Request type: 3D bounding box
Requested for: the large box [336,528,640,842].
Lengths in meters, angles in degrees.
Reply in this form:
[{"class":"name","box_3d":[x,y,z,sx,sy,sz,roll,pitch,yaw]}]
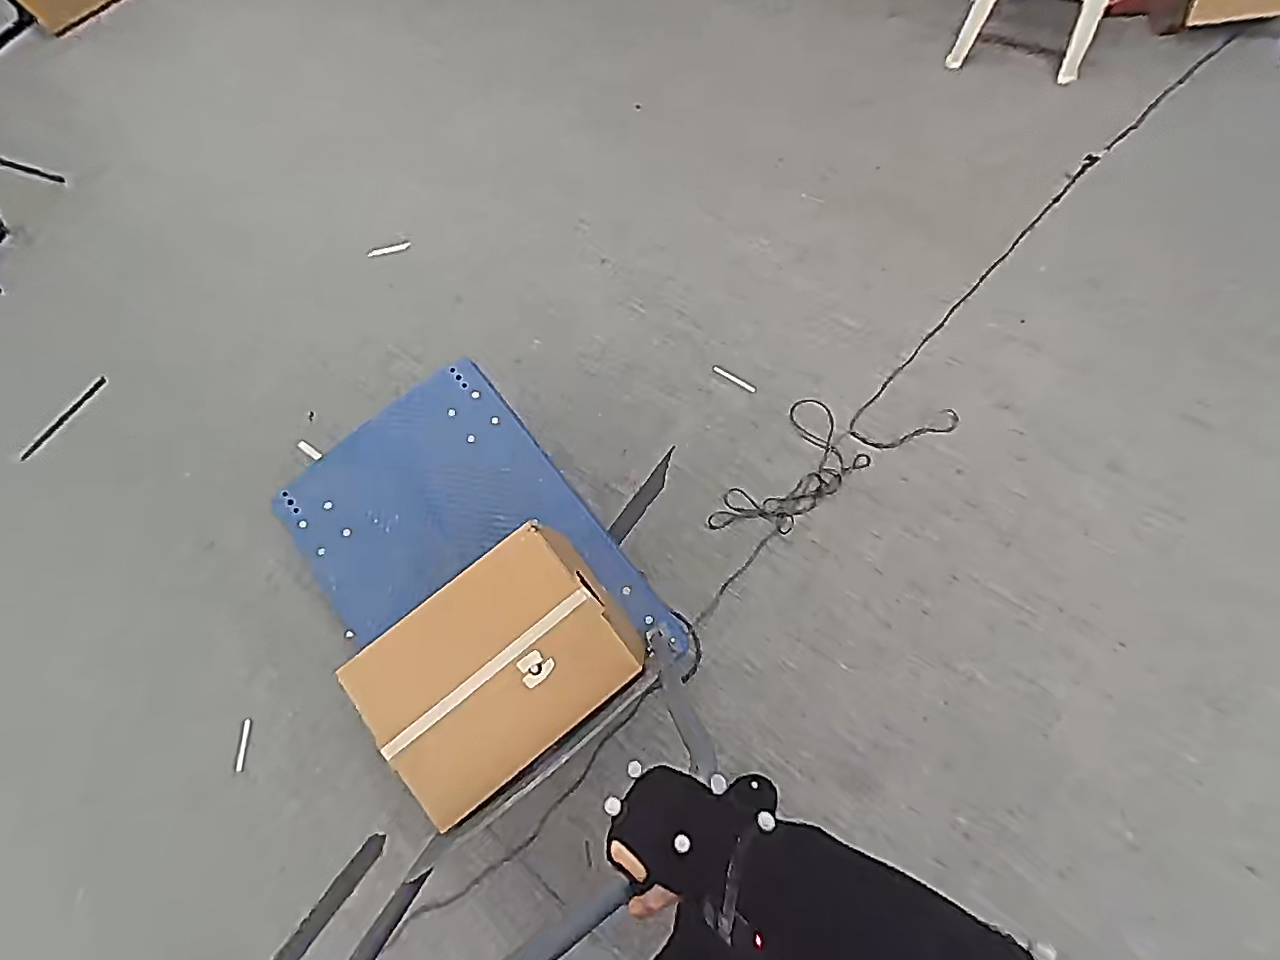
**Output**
[{"class":"large box","box_3d":[-0.247,0.348,1.017,0.408,0.320,0.320,-39,82,-6]}]
